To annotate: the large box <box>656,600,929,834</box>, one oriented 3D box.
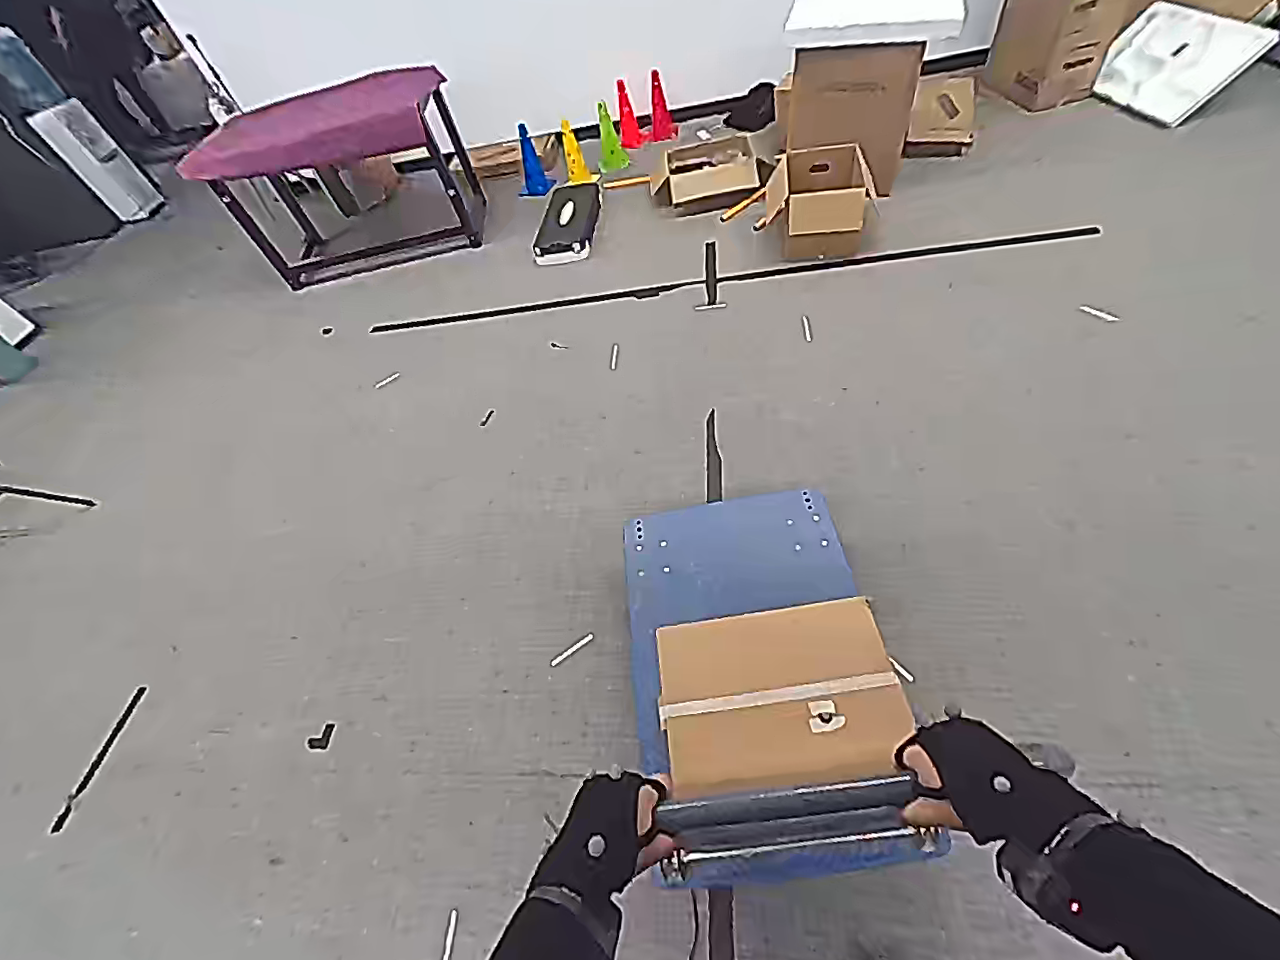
[{"bbox_3d":[0.262,0.469,1.050,0.408,0.320,0.320,-10,52,5],"label":"large box"}]
